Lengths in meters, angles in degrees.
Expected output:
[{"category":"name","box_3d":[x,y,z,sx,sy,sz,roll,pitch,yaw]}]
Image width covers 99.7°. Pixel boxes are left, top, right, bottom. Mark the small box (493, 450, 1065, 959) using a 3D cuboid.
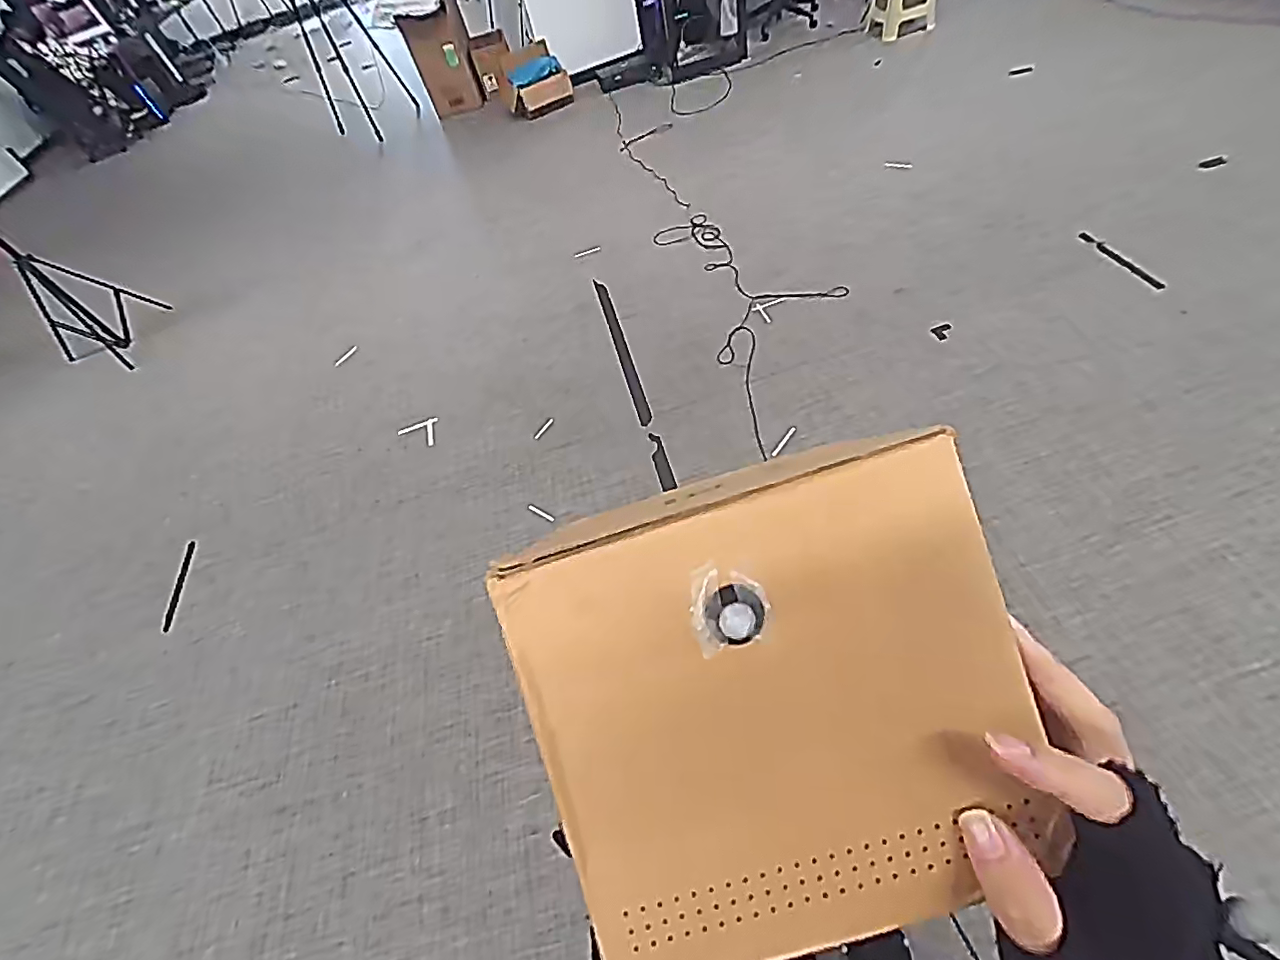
[{"category":"small box","box_3d":[0.056,0.094,0.272,0.179,0.168,0.176,-17,90,3]}]
